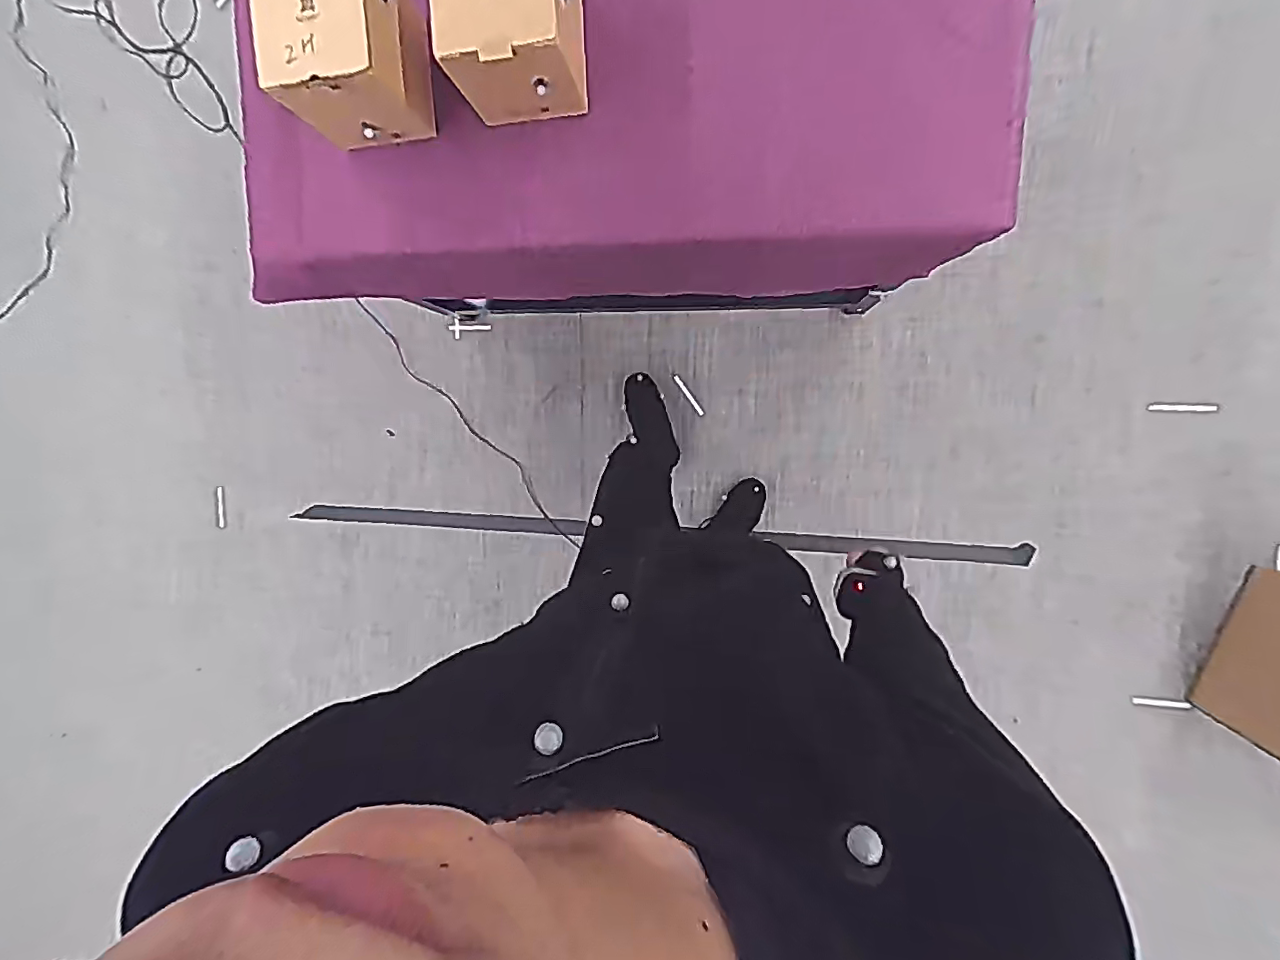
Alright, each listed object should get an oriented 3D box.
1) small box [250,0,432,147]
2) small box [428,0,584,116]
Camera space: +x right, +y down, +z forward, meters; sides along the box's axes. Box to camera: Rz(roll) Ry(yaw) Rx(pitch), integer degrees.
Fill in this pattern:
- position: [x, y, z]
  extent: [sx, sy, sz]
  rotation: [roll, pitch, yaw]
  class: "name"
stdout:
- position: [-0.426, -0.626, 0.789]
  extent: [0.168, 0.176, 0.179]
  rotation: [-2, 96, 9]
  class: "small box"
- position: [-0.178, -0.639, 0.753]
  extent: [0.168, 0.176, 0.179]
  rotation: [-1, 96, 8]
  class: "small box"
